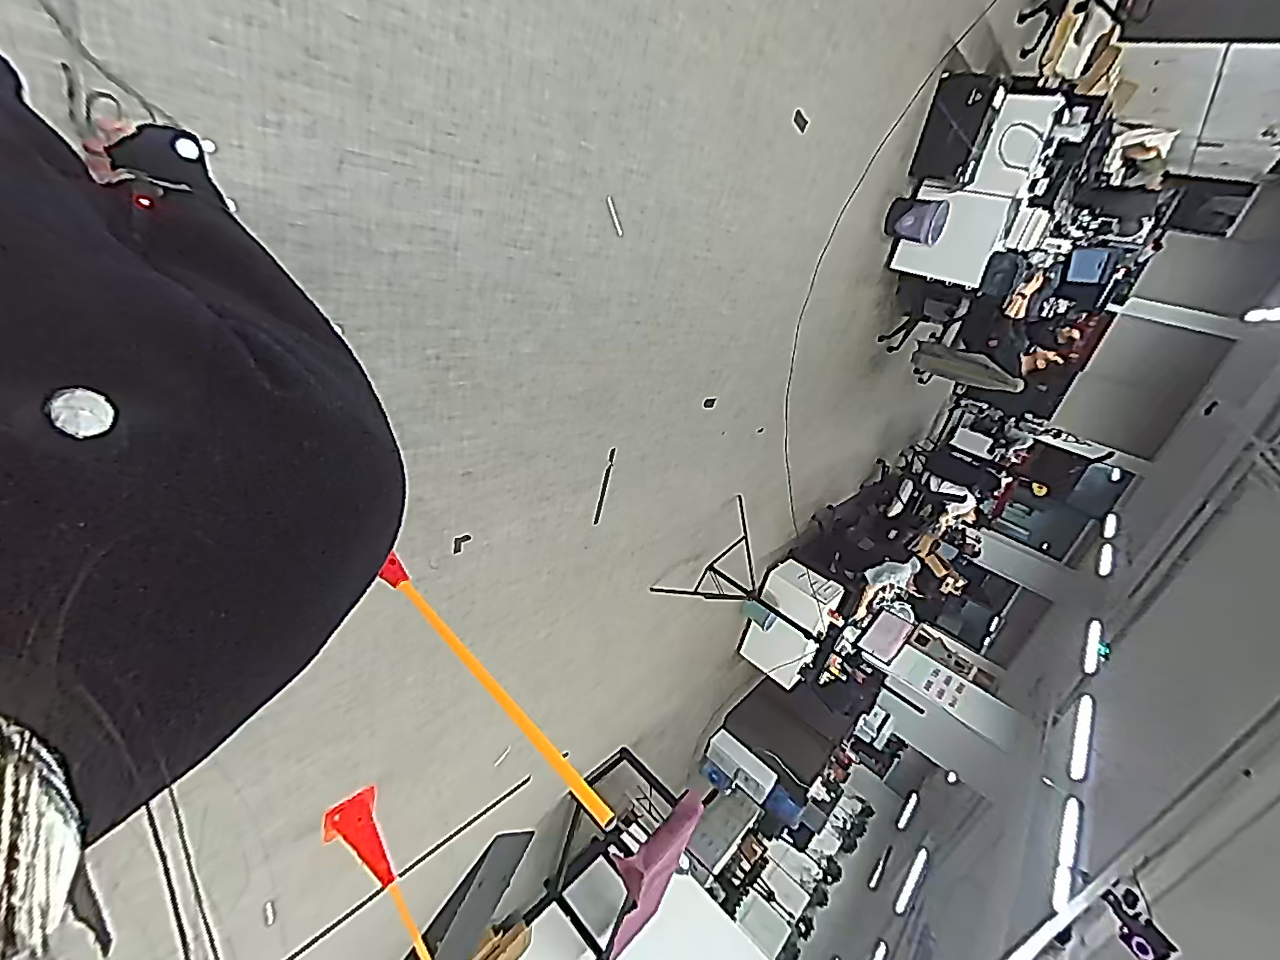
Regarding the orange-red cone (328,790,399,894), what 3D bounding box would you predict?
[{"bbox_3d":[-1.034,1.442,2.096,0.198,0.360,0.199,-13,126,-48],"label":"orange-red cone"}]
